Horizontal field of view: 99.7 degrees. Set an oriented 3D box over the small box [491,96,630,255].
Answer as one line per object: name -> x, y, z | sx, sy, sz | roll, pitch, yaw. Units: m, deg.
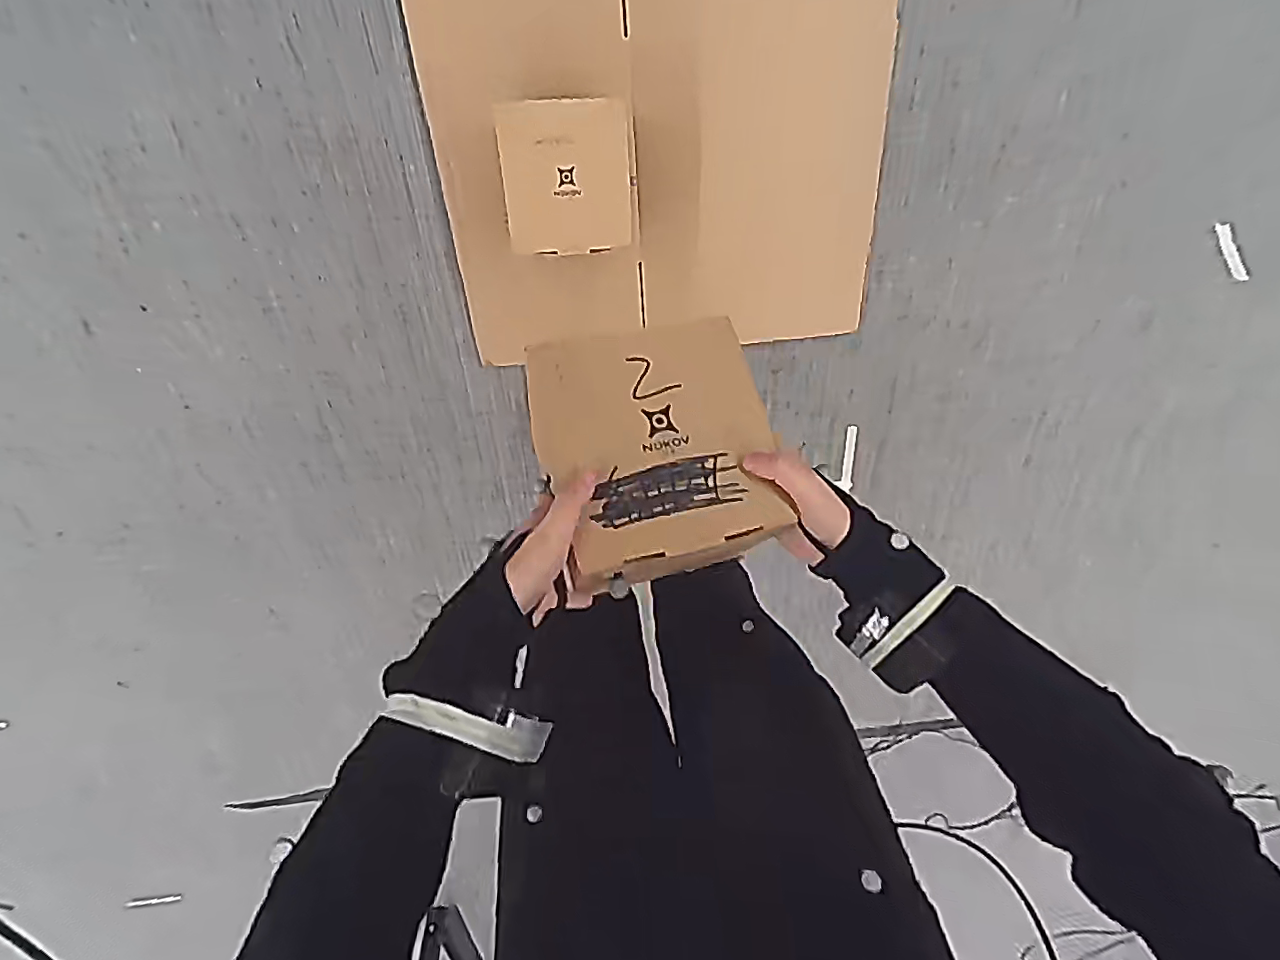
small box -> -0.106, -0.426, 0.765 | 0.168, 0.176, 0.179 | -6, 119, -5
